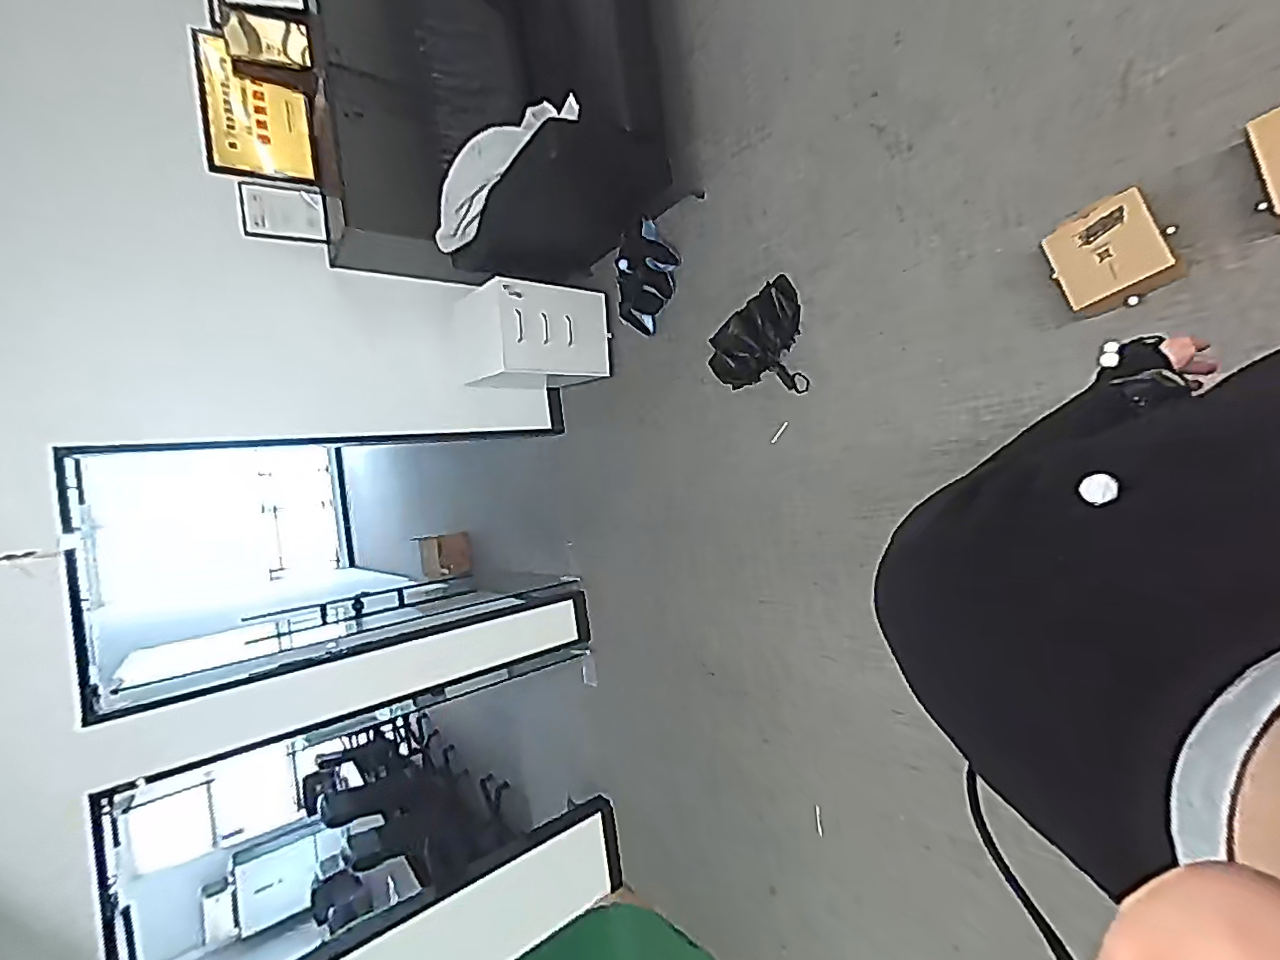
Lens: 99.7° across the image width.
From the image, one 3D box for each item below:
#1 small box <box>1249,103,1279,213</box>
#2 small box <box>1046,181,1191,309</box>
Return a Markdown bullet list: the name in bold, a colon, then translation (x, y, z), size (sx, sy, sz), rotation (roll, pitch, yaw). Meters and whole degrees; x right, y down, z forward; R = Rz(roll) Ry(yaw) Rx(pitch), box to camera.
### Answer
- **small box**: translation (1.168, -0.559, 0.900), size (0.168, 0.176, 0.179), rotation (-20, 79, 51)
- **small box**: translation (0.998, -0.477, 1.130), size (0.168, 0.176, 0.179), rotation (-30, 73, 51)
